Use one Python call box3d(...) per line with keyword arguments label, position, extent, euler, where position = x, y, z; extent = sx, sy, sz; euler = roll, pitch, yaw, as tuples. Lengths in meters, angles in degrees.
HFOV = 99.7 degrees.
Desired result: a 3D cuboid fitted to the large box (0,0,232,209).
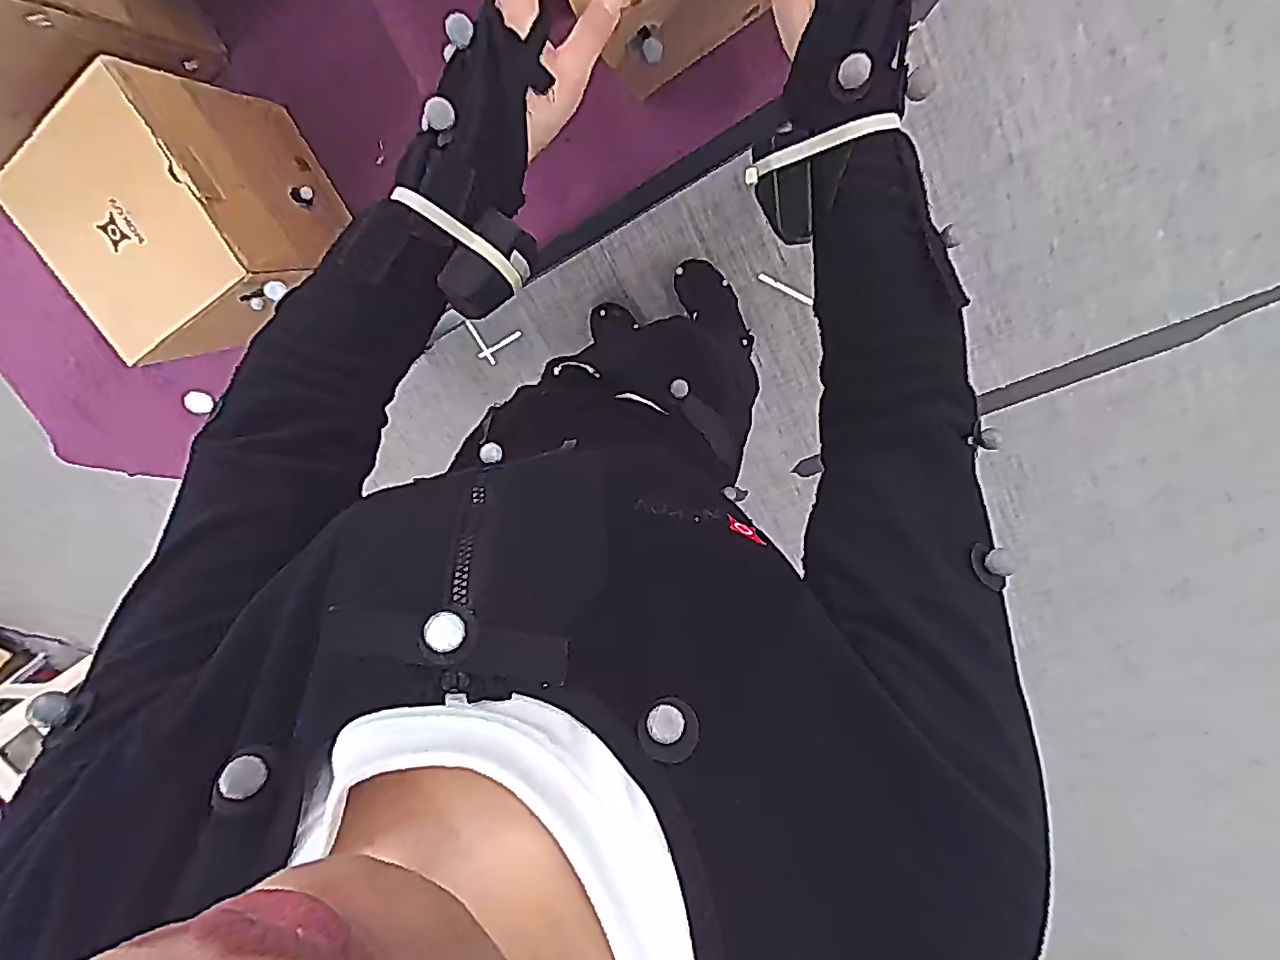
box3d(label="large box", position=(-0.635, -0.461, 0.378), extent=(0.320, 0.320, 0.408), euler=(-21, 111, 20))
